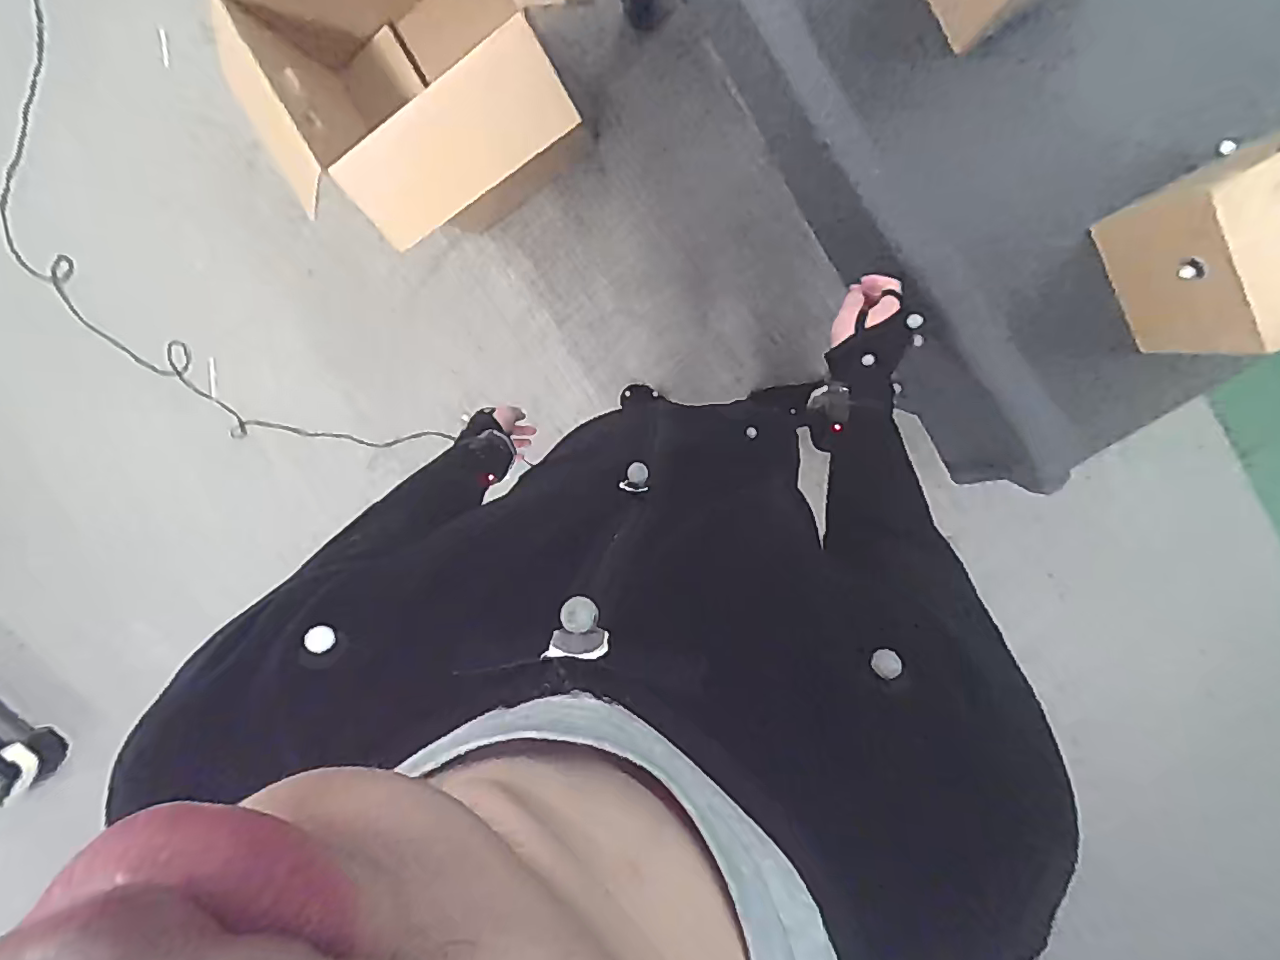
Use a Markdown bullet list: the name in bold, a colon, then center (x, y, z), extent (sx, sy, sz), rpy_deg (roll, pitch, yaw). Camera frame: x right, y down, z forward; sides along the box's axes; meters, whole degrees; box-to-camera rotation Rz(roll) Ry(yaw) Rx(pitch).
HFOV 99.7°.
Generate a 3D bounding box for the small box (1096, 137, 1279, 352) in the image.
- **small box**: center (0.645, -0.249, 0.574), extent (0.168, 0.176, 0.179), rpy_deg (-28, 99, 14)

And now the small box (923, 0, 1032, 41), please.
- **small box**: center (0.381, -0.589, 0.532), extent (0.168, 0.176, 0.179), rpy_deg (-32, 98, 14)
